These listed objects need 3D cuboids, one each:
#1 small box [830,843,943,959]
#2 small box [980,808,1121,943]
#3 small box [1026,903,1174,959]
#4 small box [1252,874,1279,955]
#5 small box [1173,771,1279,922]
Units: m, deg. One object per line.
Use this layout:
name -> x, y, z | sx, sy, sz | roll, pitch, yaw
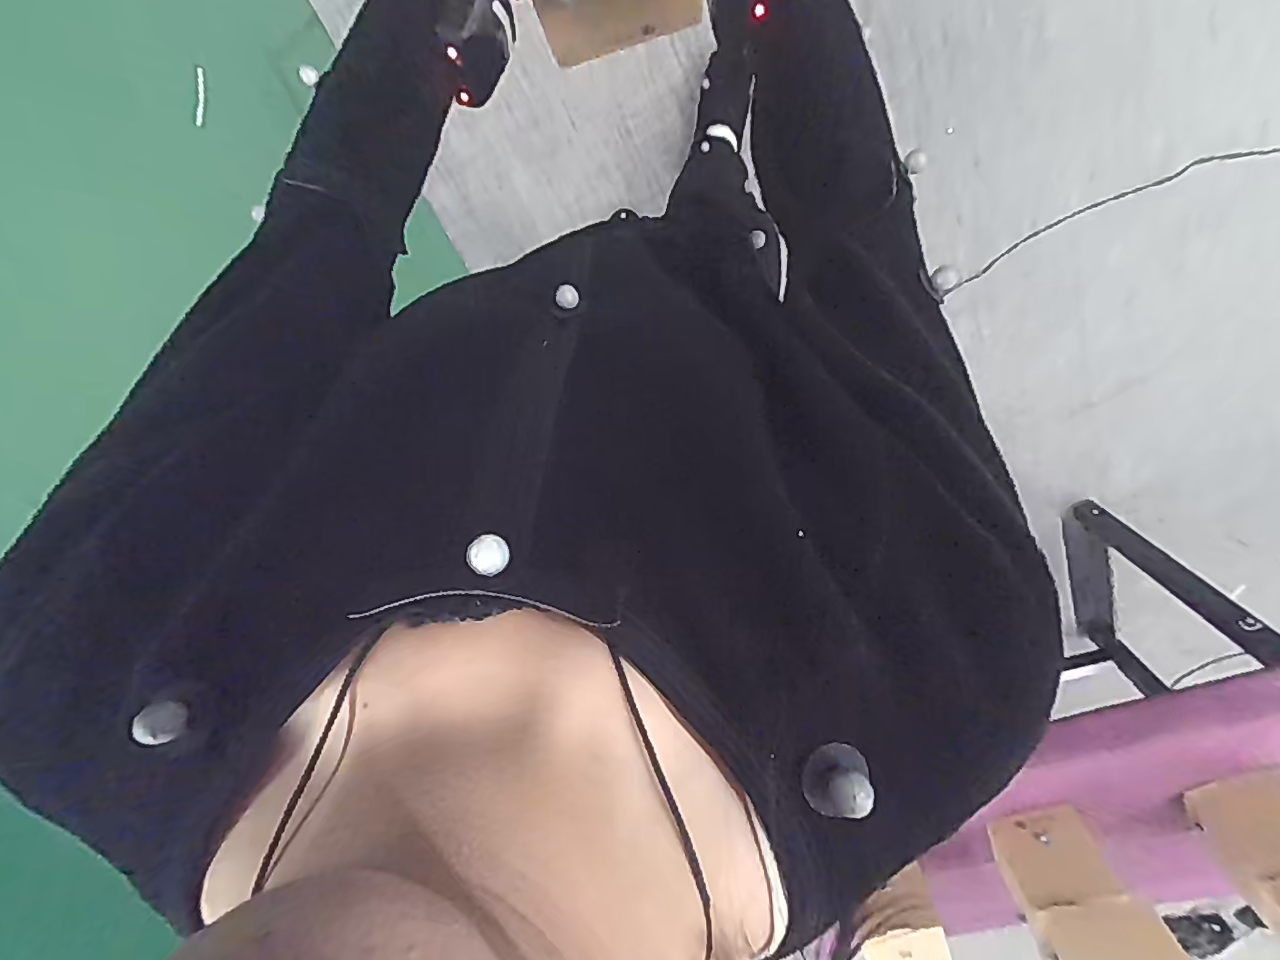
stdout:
small box -> 0.526, 0.915, 1.168 | 0.168, 0.176, 0.179 | -18, 115, 11
small box -> 0.825, 0.806, 1.097 | 0.168, 0.176, 0.179 | -20, 115, 12
small box -> 0.827, 0.876, 0.948 | 0.179, 0.176, 0.168 | -10, 117, 8
small box -> 1.160, 0.757, 0.874 | 0.179, 0.176, 0.168 | -28, 112, 15
small box -> 1.173, 0.683, 1.018 | 0.179, 0.176, 0.168 | -25, 113, 15
